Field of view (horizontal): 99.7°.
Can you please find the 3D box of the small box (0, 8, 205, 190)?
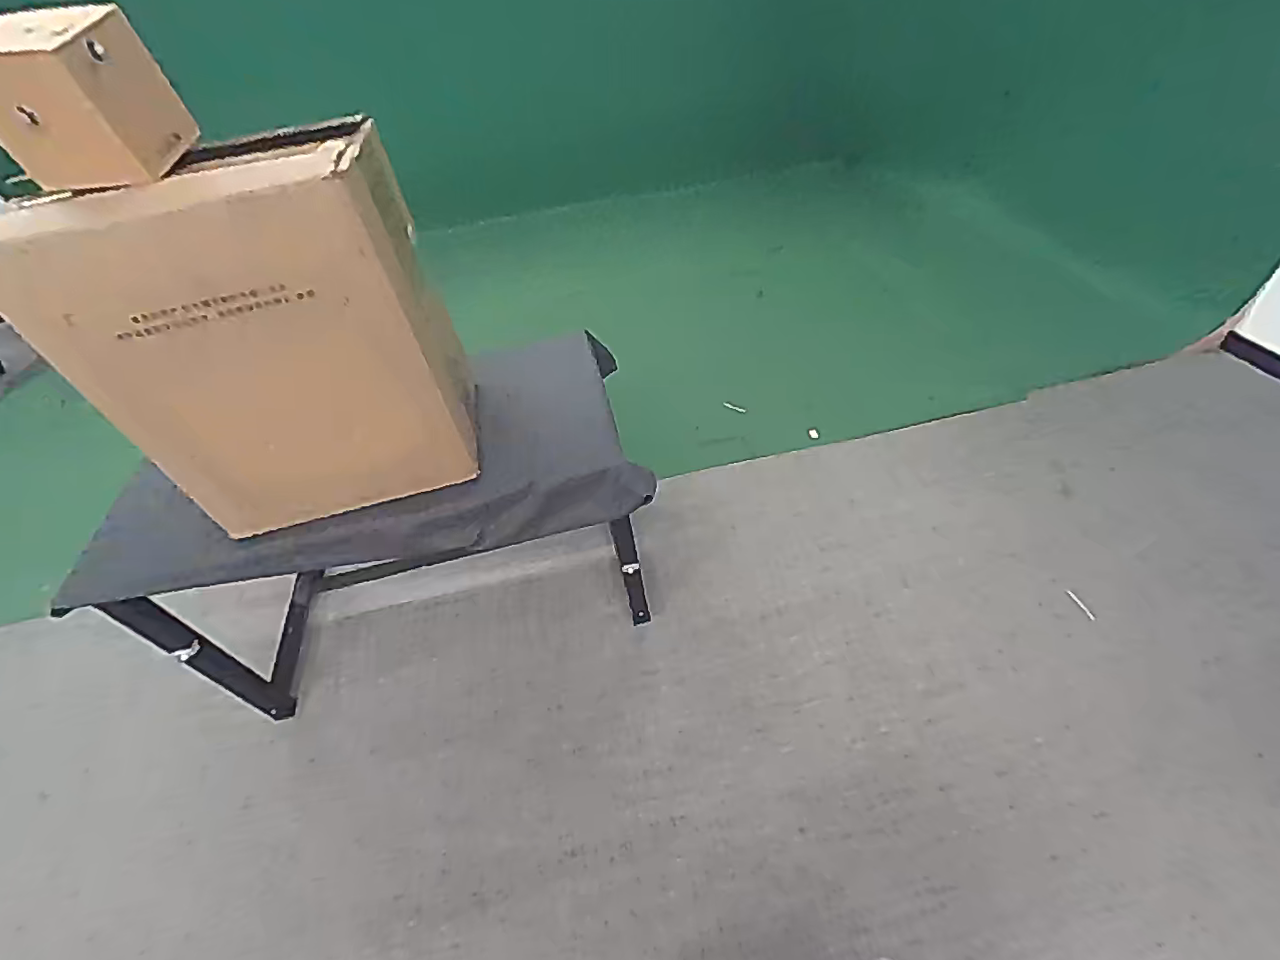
[{"bbox_3d":[-0.807,-0.547,0.789,0.179,0.176,0.168,-3,57,3],"label":"small box"}]
